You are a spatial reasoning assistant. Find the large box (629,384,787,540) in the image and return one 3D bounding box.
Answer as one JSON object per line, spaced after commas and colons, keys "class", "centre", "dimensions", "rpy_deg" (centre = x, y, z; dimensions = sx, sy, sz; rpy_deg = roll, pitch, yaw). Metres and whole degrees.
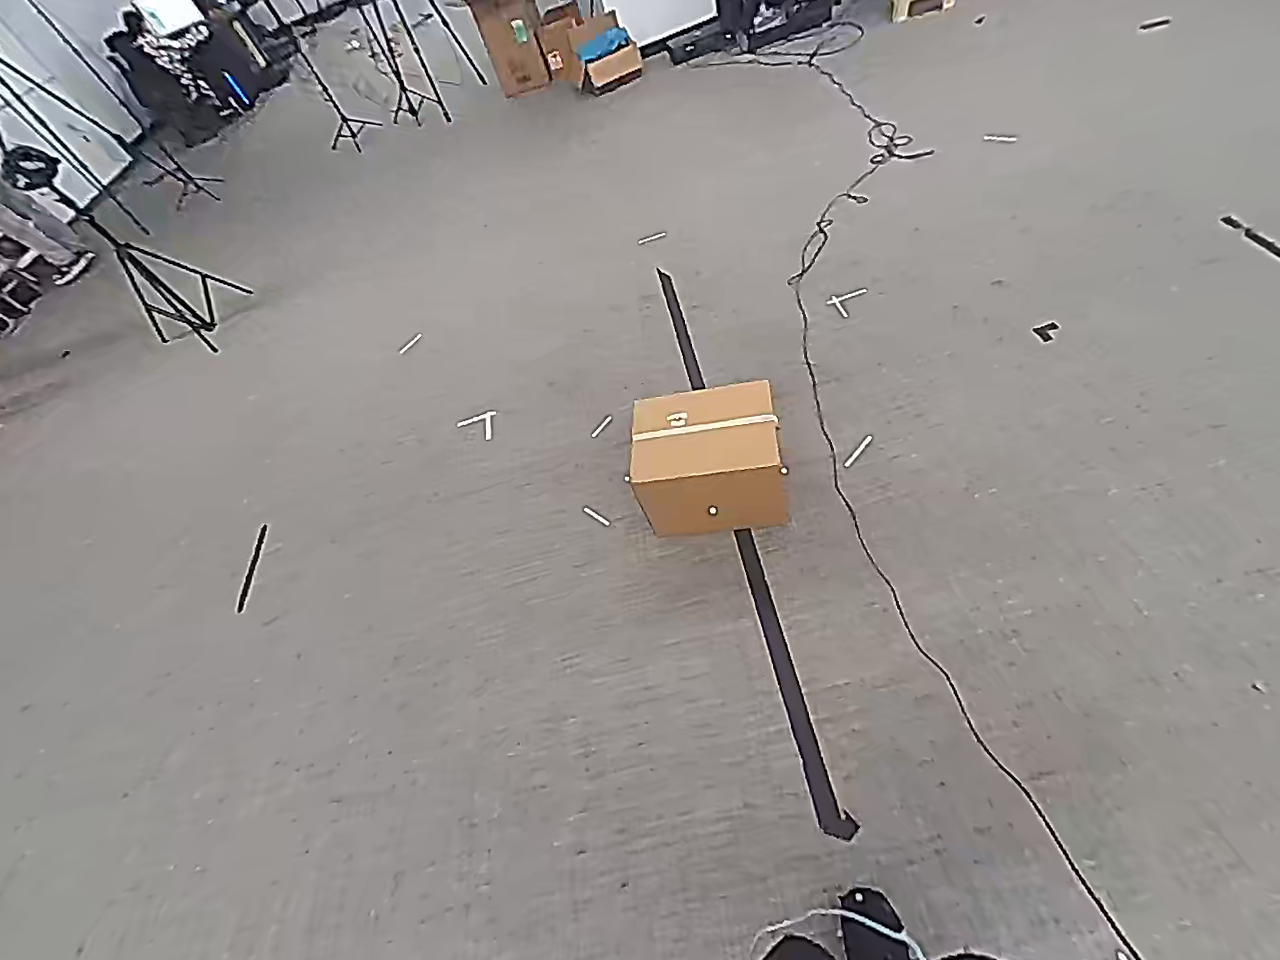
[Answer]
{"class": "large box", "centre": [0.208, -0.042, 1.624], "dimensions": [0.408, 0.320, 0.320], "rpy_deg": [-8, 52, 15]}
